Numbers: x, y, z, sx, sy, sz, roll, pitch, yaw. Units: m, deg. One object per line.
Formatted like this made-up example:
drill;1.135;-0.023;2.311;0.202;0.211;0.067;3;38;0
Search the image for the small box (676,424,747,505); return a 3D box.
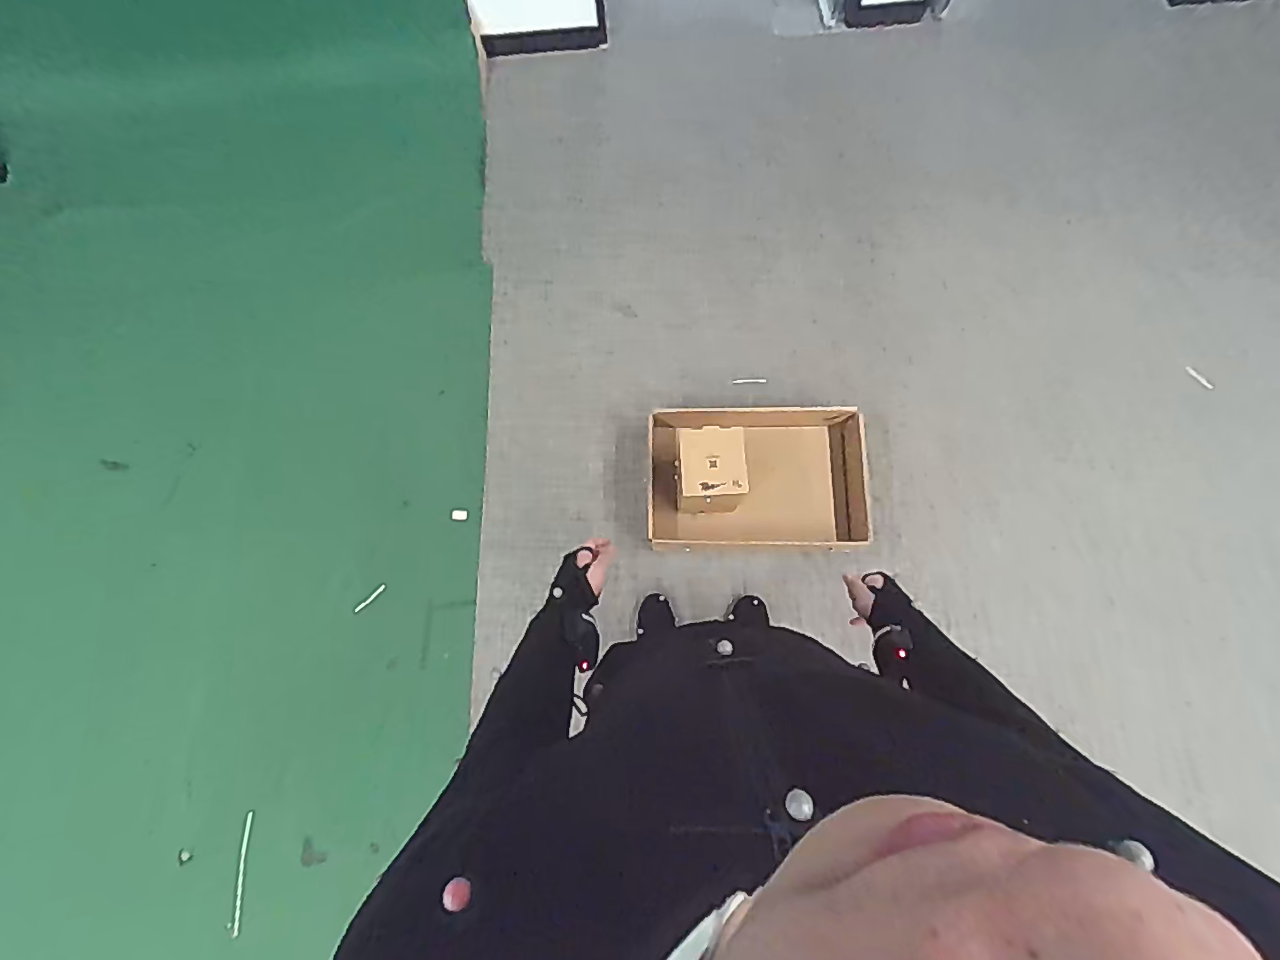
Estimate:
small box;0.182;-0.036;1.424;0.168;0.176;0.179;-3;77;3
